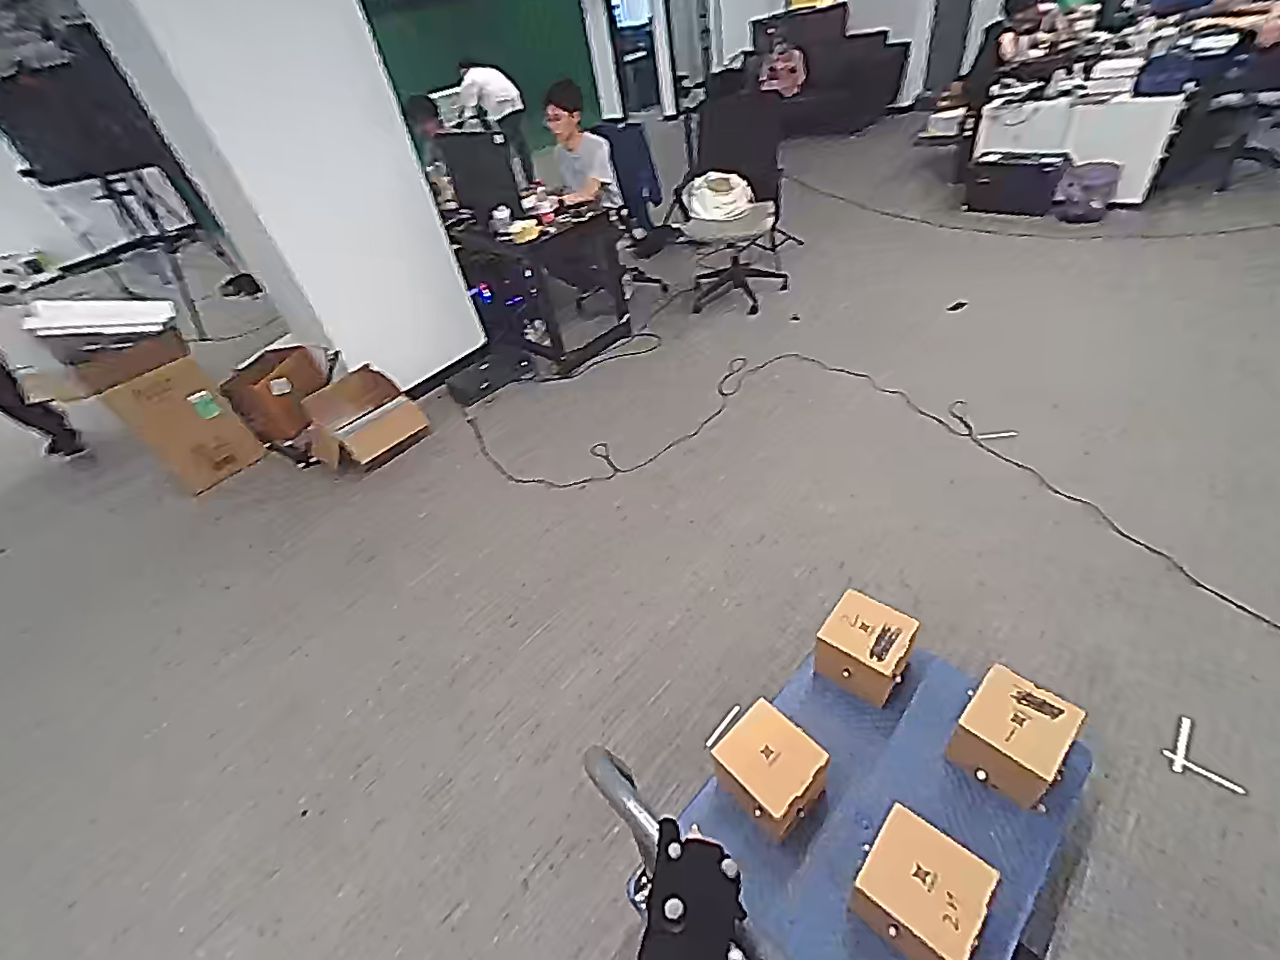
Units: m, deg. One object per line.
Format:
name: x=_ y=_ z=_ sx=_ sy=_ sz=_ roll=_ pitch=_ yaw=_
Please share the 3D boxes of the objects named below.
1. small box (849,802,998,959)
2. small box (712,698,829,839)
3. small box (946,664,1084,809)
small box: x=0.490 y=0.727 z=0.958 sx=0.179 sy=0.176 sz=0.168 roll=26 pitch=54 yaw=36
small box: x=0.272 y=0.612 z=1.145 sx=0.168 sy=0.176 sz=0.179 roll=-36 pitch=48 yaw=-25
small box: x=0.760 y=0.527 z=1.113 sx=0.179 sy=0.176 sz=0.168 roll=-38 pitch=47 yaw=-25
